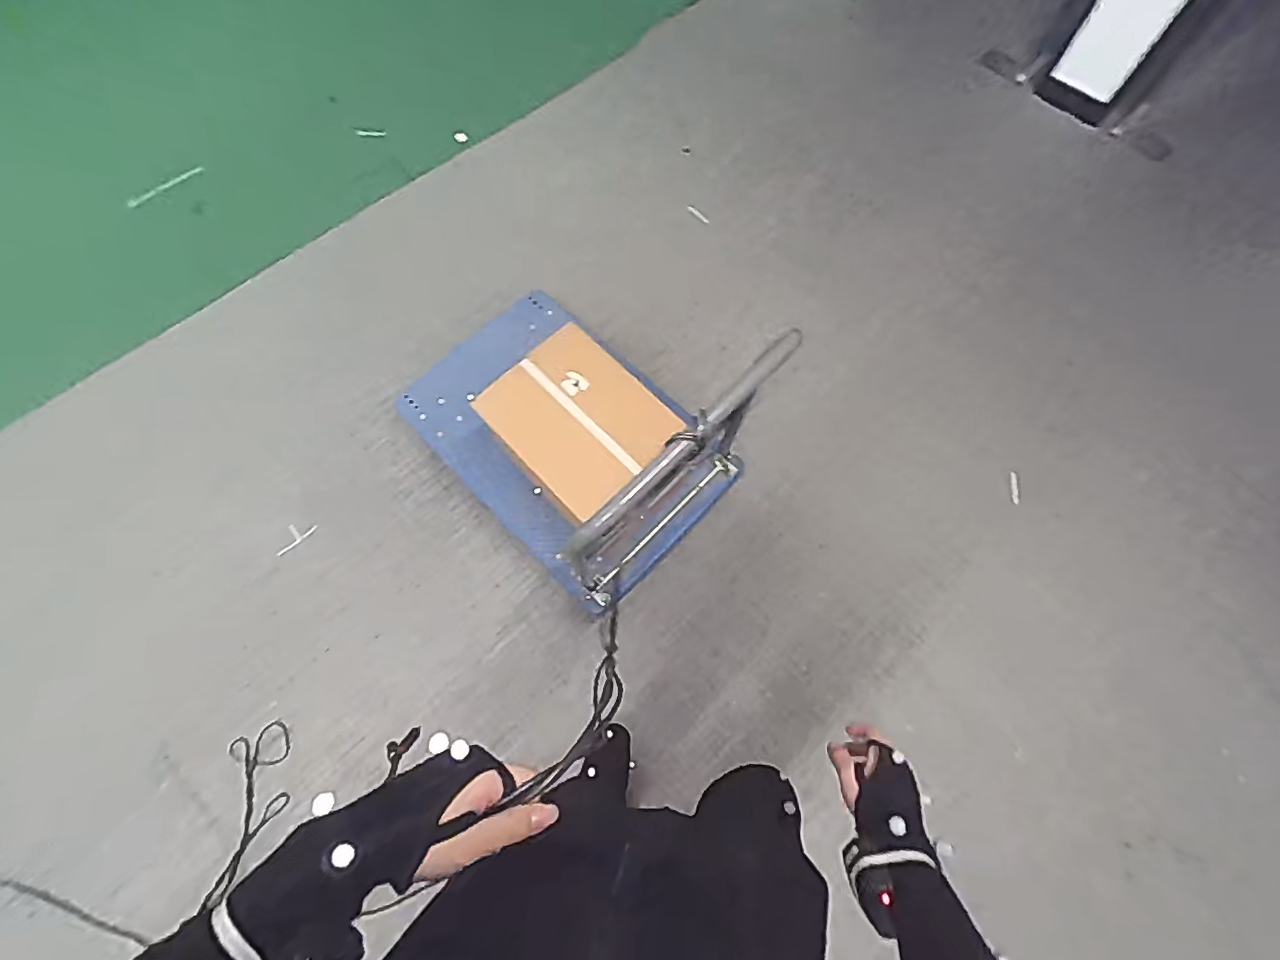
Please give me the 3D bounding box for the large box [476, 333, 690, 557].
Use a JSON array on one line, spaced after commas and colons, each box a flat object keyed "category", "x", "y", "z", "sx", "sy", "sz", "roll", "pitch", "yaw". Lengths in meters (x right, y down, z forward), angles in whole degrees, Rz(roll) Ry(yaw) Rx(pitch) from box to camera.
[{"category": "large box", "x": -0.123, "y": -0.074, "z": 1.351, "sx": 0.320, "sy": 0.320, "sz": 0.408, "roll": -41, "pitch": 73, "yaw": -13}]
